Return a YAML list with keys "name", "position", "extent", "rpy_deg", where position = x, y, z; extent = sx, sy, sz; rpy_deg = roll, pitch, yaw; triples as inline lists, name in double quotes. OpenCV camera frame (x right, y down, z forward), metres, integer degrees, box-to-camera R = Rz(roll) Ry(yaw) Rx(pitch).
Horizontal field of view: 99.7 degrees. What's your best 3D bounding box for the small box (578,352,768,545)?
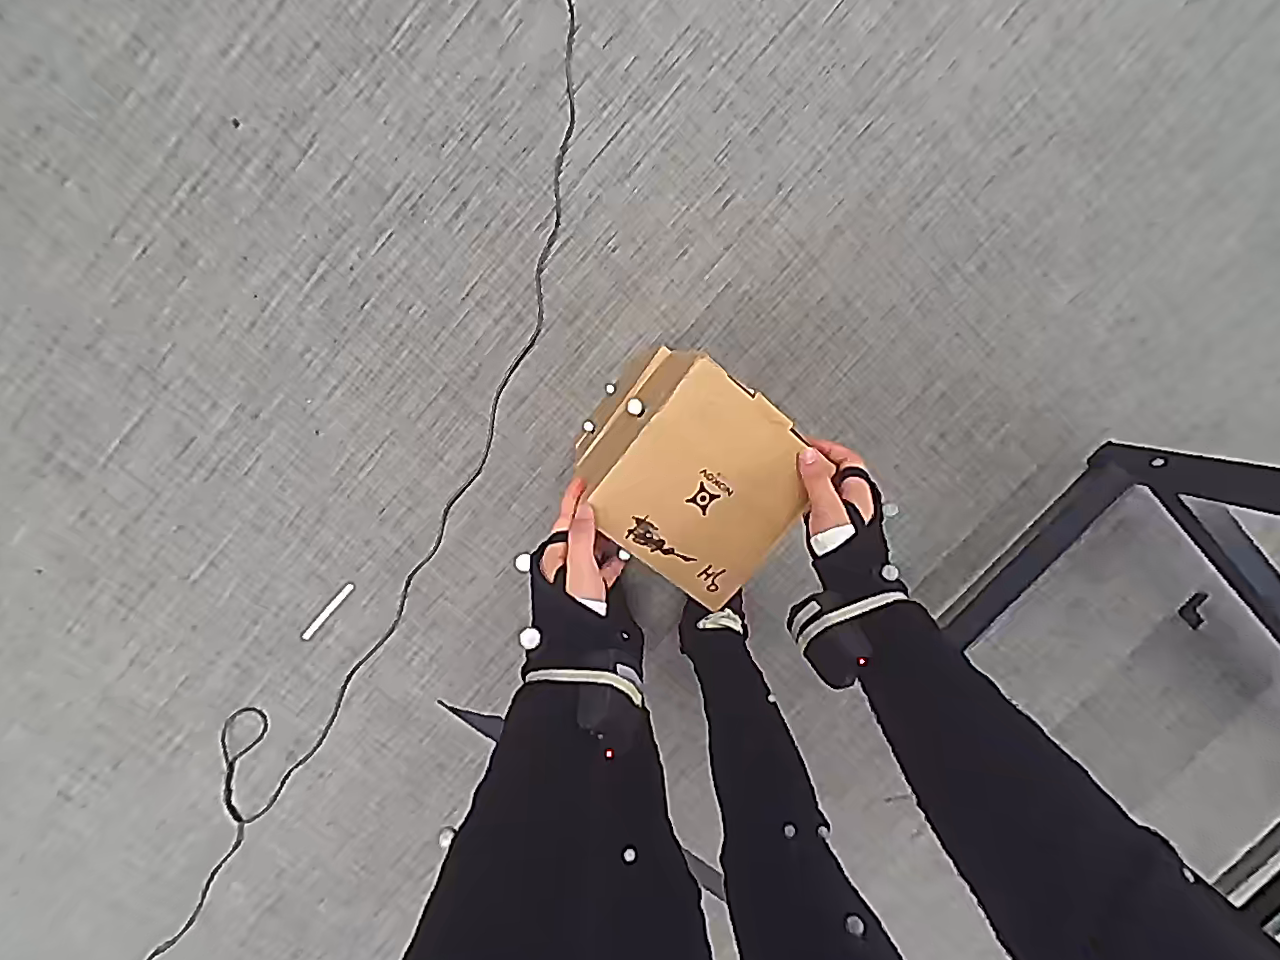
- name: "small box"
  position: [0.034, -0.048, 0.716]
  extent: [0.168, 0.176, 0.179]
  rpy_deg: [34, 95, -12]
